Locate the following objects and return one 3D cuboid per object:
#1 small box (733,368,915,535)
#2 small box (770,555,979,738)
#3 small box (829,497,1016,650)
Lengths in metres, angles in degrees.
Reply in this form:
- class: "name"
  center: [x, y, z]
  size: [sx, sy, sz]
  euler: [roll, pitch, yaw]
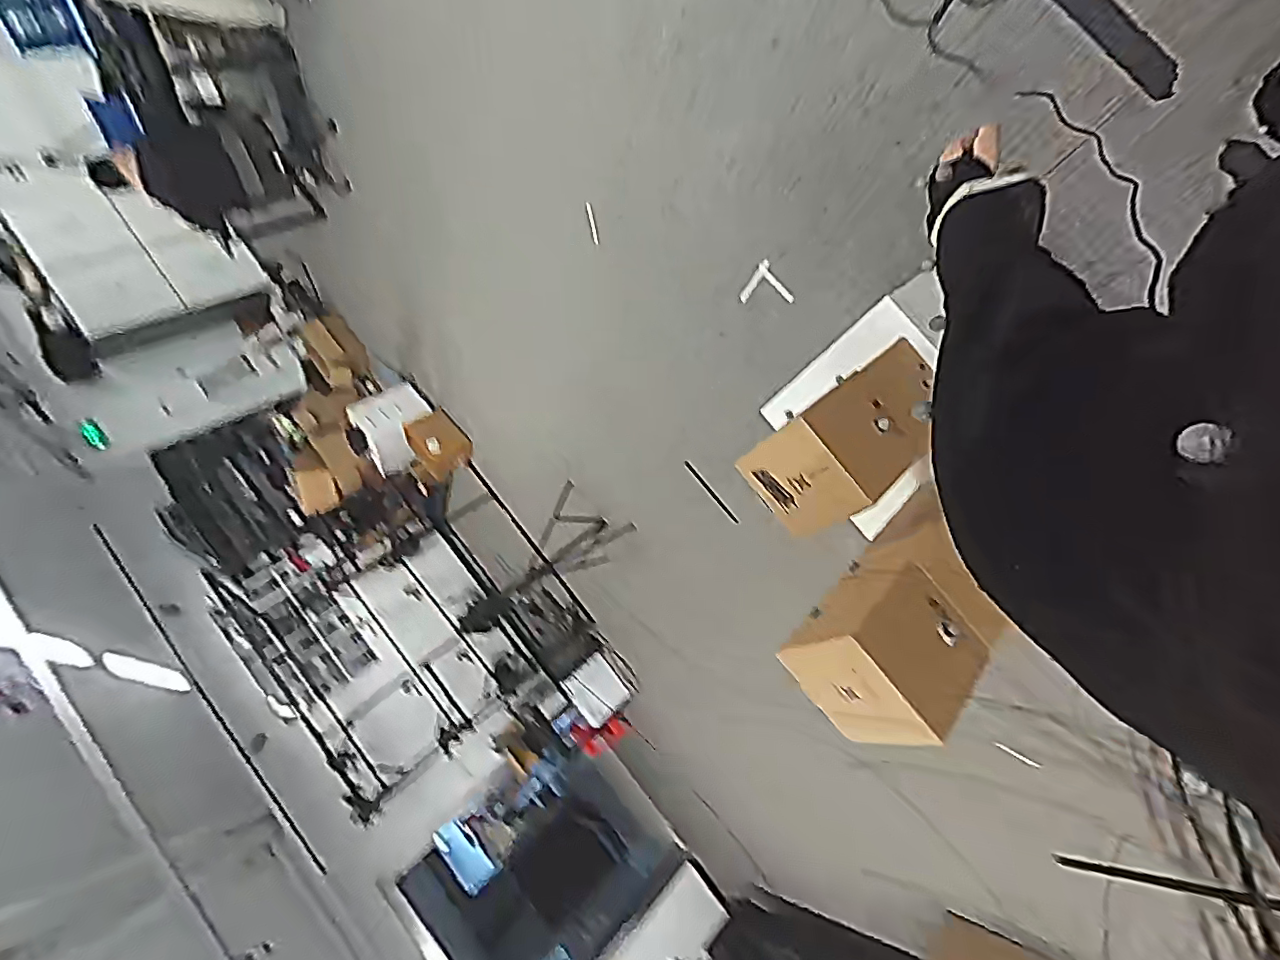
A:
- class: "small box"
  center: [0.288, -0.044, 0.852]
  size: [0.168, 0.176, 0.179]
  euler: [52, 148, 3]
- class: "small box"
  center: [0.325, 0.232, 0.758]
  size: [0.168, 0.176, 0.179]
  euler: [50, 149, 6]
- class: "small box"
  center: [0.441, 0.152, 0.838]
  size: [0.168, 0.176, 0.179]
  euler: [51, 150, 6]
